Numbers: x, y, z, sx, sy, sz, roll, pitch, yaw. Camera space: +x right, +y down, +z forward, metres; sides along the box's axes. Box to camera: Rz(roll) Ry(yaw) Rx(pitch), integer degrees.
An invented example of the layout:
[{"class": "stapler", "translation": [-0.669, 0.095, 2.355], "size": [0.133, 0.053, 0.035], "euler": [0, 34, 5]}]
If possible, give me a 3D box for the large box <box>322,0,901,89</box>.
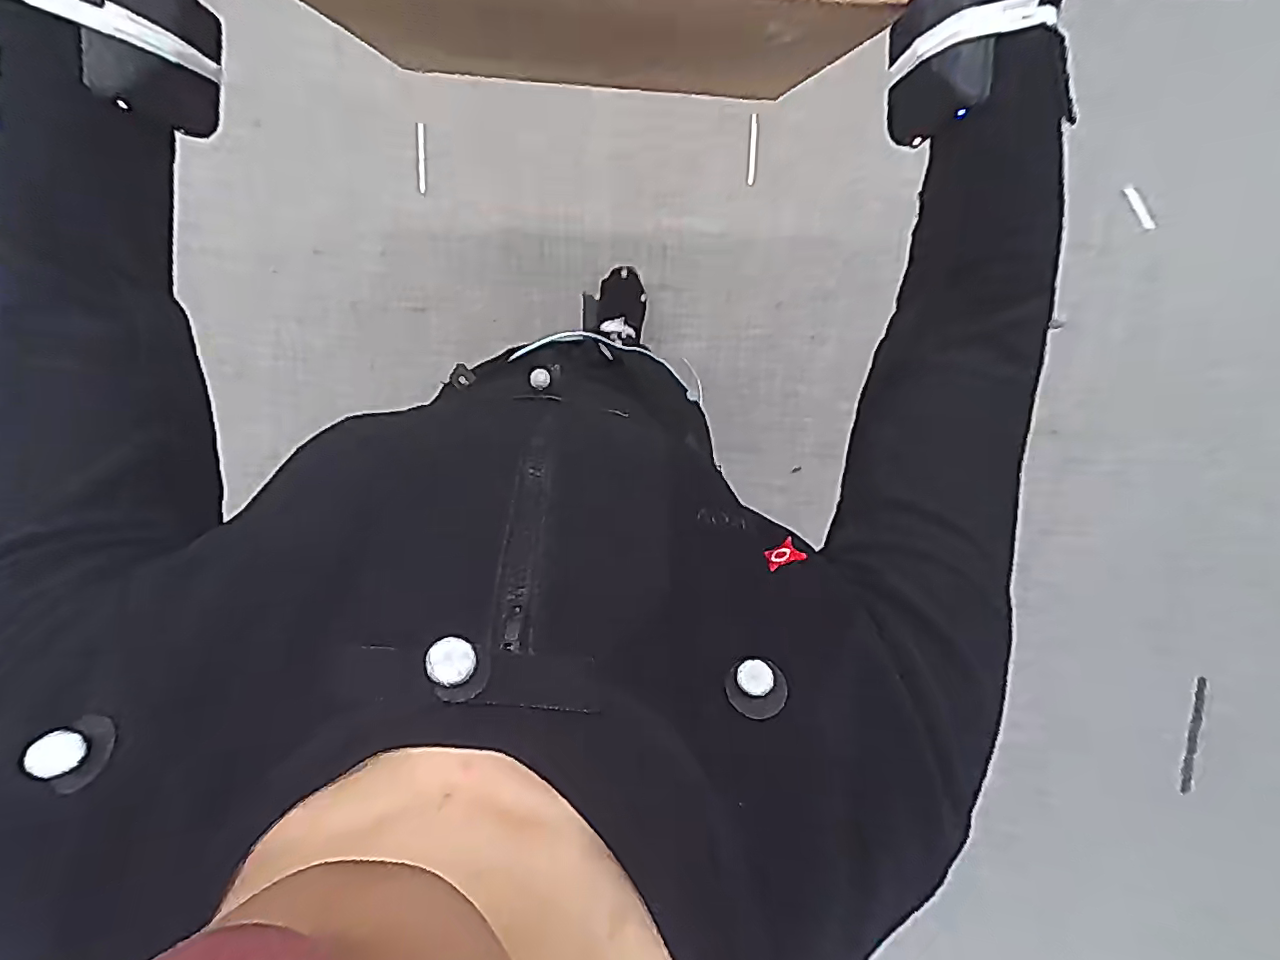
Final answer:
[{"class": "large box", "translation": [-0.032, -0.503, 0.389], "size": [0.408, 0.320, 0.320], "euler": [1, 118, -4]}]
